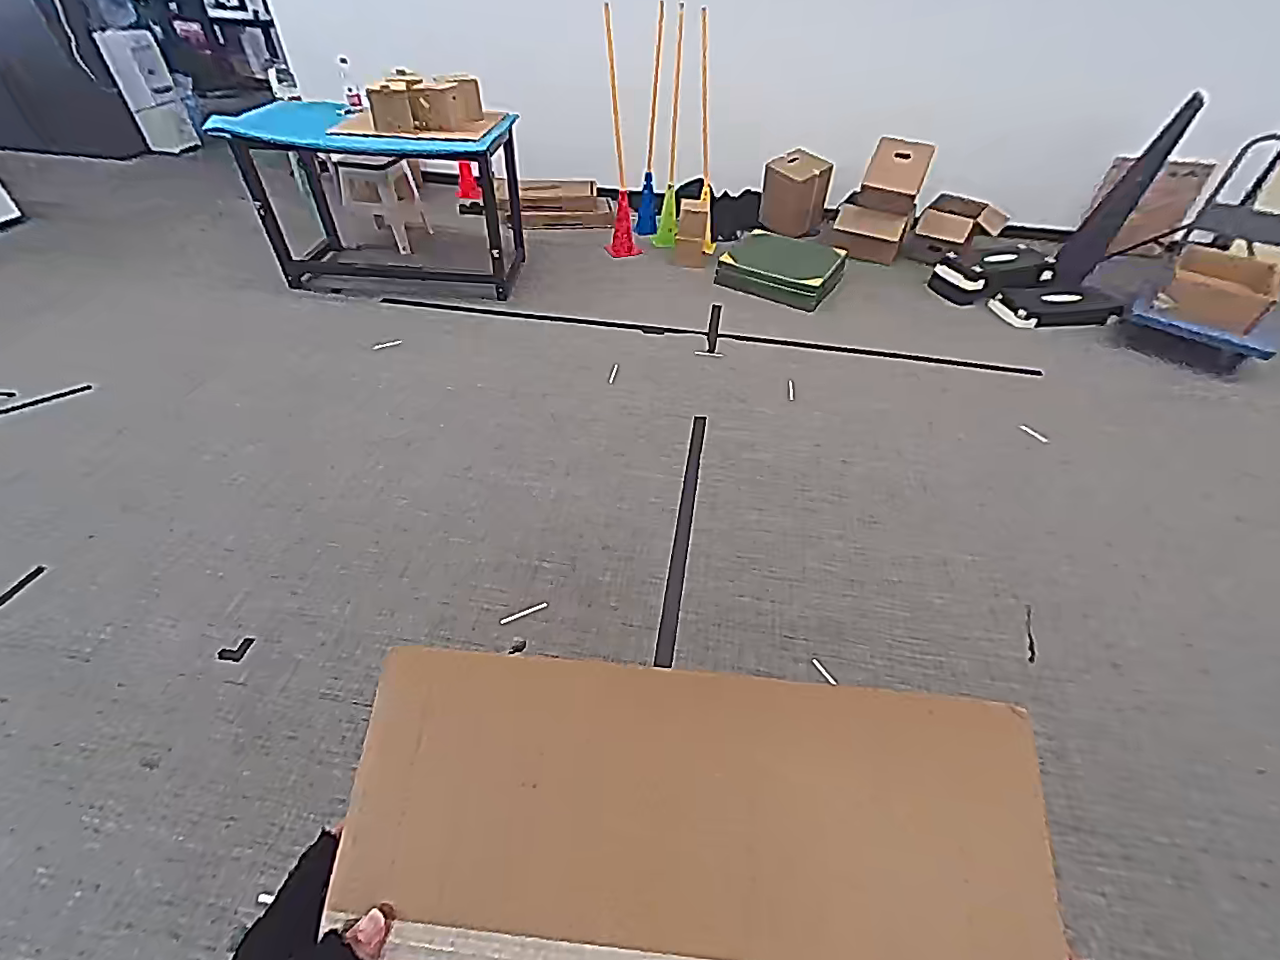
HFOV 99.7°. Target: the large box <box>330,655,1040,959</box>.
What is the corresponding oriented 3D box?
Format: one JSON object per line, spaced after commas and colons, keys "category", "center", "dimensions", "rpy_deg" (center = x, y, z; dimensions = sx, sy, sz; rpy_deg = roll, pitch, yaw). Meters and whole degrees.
{"category": "large box", "center": [0.027, 0.327, 0.442], "dimensions": [0.408, 0.320, 0.320], "rpy_deg": [3, 70, 6]}
